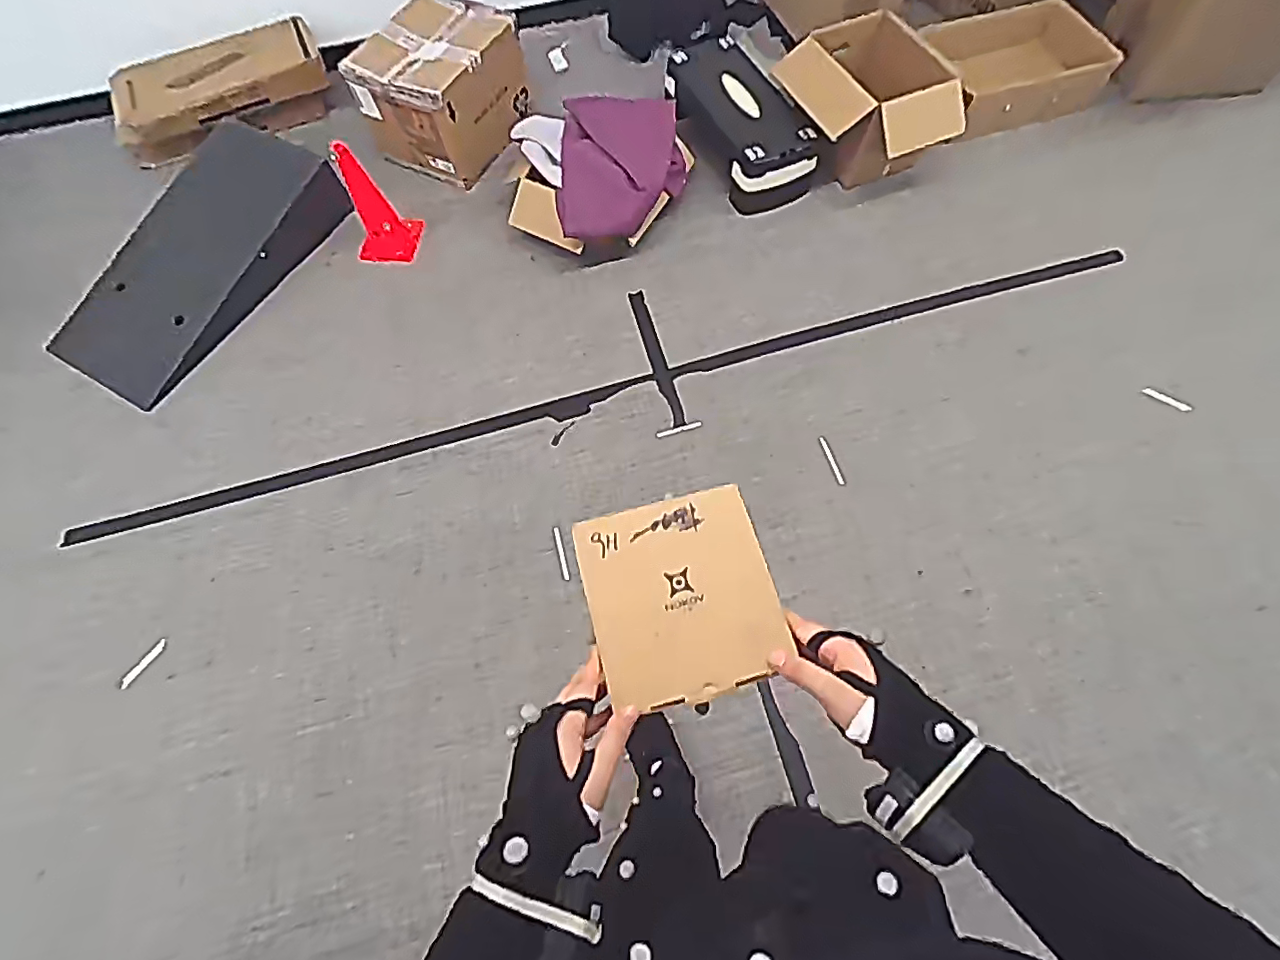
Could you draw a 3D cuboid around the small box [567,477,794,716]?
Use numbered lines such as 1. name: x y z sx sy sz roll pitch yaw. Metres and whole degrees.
1. small box: 0.033 0.121 0.547 0.168 0.176 0.179 -14 70 -5
